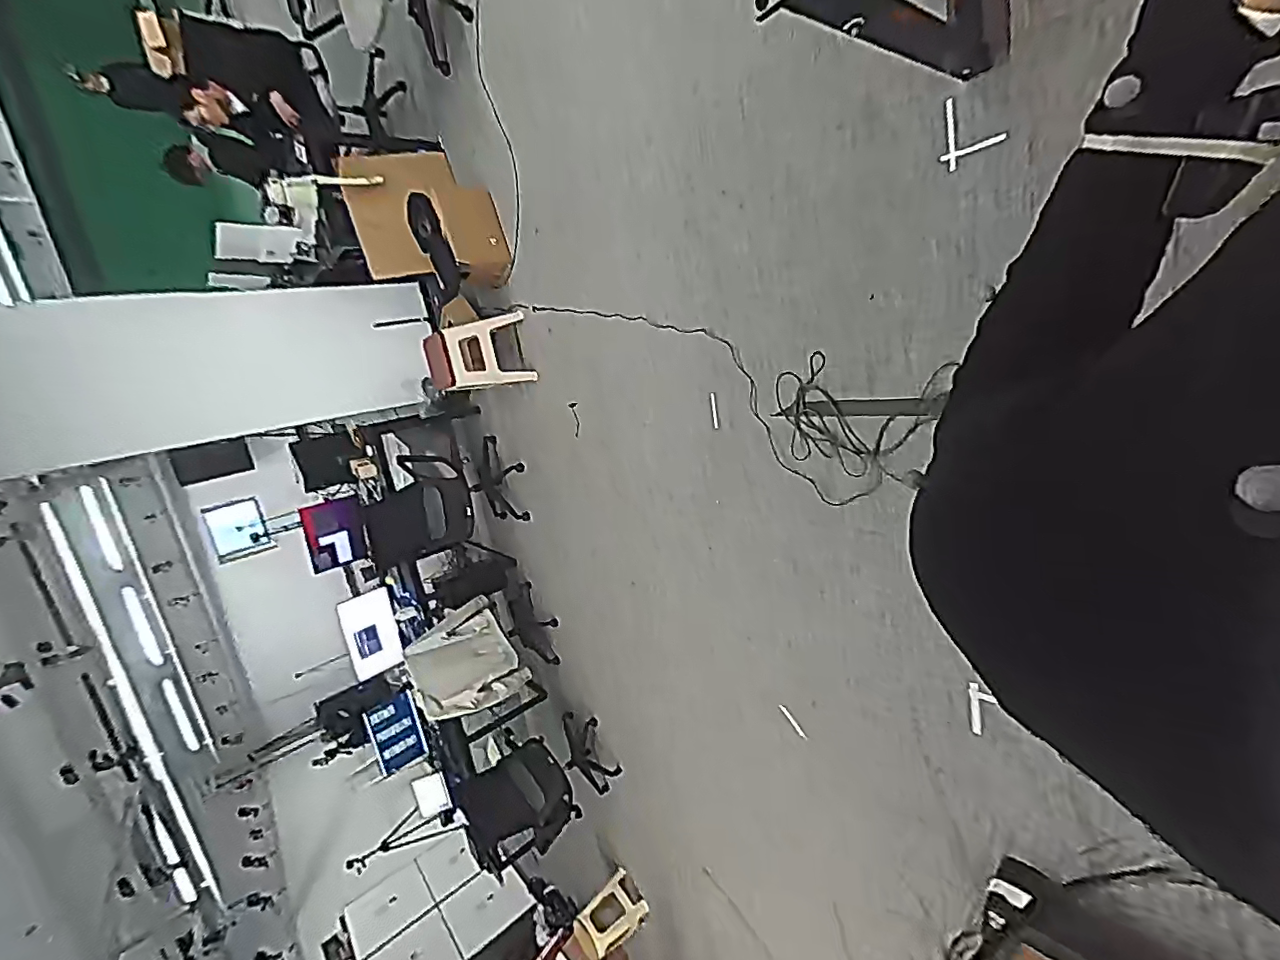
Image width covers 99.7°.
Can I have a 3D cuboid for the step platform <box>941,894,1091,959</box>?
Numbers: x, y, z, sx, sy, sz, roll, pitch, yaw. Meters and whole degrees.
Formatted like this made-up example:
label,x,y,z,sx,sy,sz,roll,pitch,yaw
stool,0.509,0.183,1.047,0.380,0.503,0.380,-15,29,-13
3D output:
label,x,y,z,sx,sy,sz,roll,pitch,yaw
step platform,1.117,1.346,1.281,0.684,0.204,0.286,5,111,52
